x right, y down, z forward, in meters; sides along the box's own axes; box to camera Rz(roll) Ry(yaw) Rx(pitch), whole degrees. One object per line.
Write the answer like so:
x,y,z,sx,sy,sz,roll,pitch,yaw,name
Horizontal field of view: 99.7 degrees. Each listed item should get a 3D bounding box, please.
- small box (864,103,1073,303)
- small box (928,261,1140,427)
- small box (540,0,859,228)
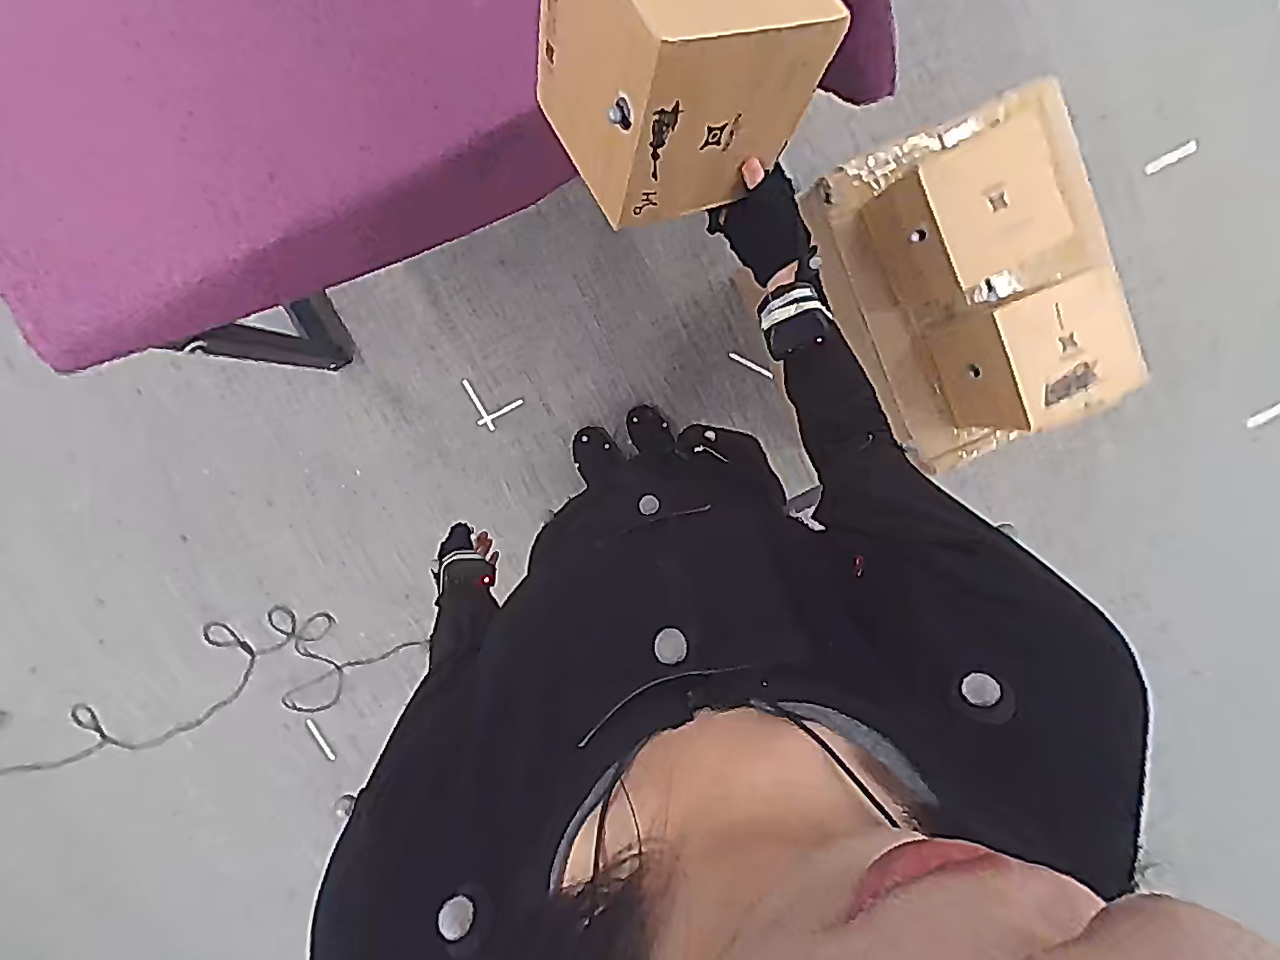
0.454,-0.379,0.777,0.168,0.176,0.179,-27,99,2,small box
0.571,-0.191,0.805,0.168,0.176,0.179,-23,96,1,small box
0.035,-0.358,0.459,0.179,0.168,0.176,-25,78,-21,small box
